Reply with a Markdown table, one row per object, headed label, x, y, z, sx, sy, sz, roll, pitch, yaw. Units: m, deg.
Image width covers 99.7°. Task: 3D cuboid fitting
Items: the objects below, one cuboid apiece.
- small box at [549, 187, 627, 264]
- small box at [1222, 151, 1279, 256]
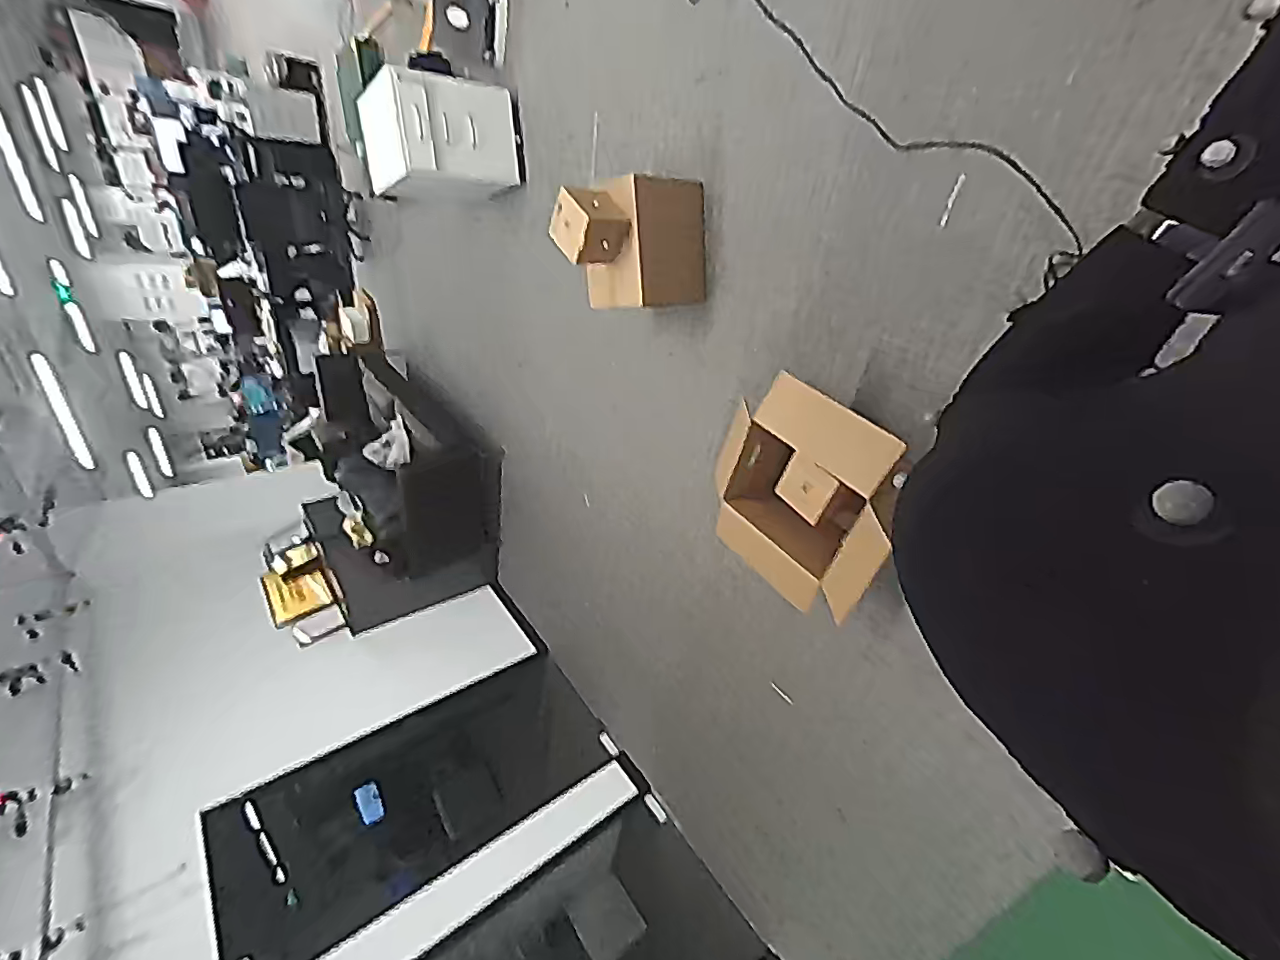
| label | x | y | z | sx | sy | sz | roll | pitch | yaw |
| --- | --- | --- | --- | --- | --- | --- | --- | --- | --- |
| small box | -0.169 | -0.837 | 1.776 | 0.179 | 0.176 | 0.168 | 54 | 140 | 21 |
| small box | 1.068 | -0.437 | 0.805 | 0.176 | 0.168 | 0.179 | 39 | 118 | -6 |
